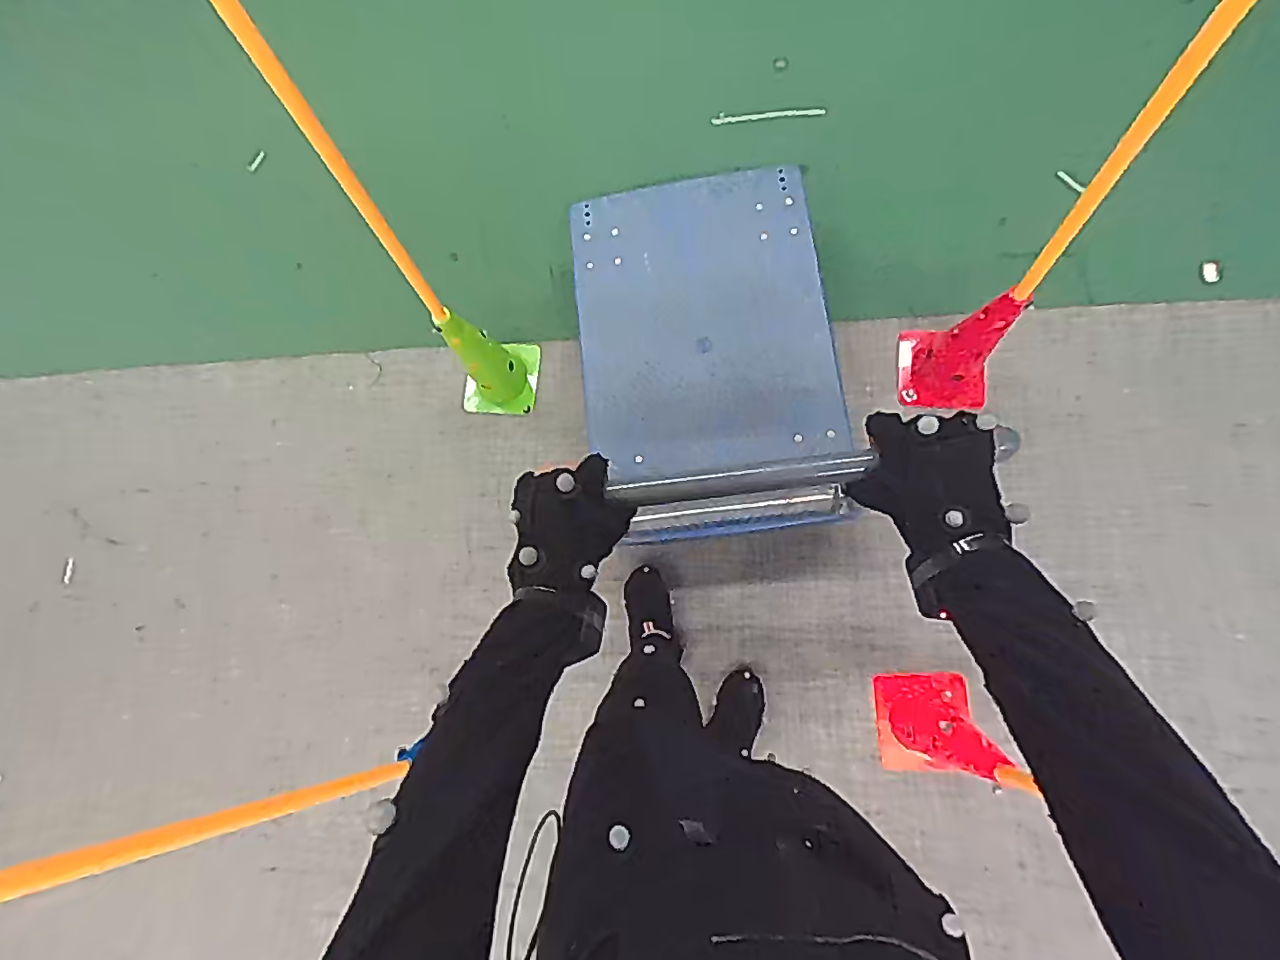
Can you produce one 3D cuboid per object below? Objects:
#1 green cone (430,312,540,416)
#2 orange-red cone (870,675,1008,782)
[{"bbox_3d":[-0.401,-0.310,1.327,0.202,0.368,0.200,3,78,9],"label":"green cone"},{"bbox_3d":[0.597,0.504,1.038,0.199,0.360,0.198,-2,78,9],"label":"orange-red cone"}]
